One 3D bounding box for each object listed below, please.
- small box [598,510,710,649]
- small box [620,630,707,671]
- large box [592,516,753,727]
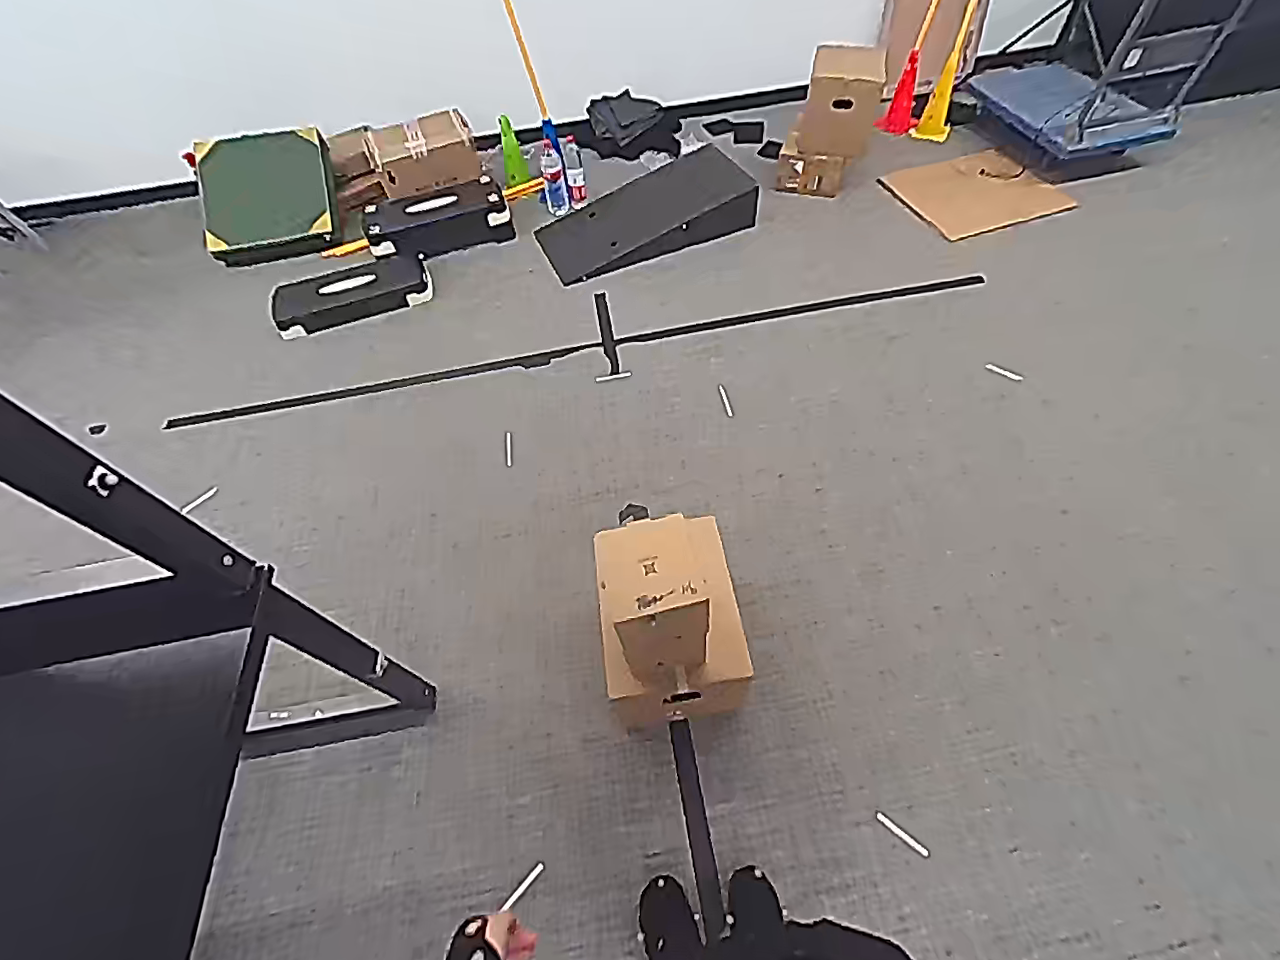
[{"bbox_3d":[0.026,0.185,0.988,0.168,0.176,0.179,-14,54,-2],"label":"small box"},{"bbox_3d":[0.040,0.276,1.123,0.168,0.176,0.179,-11,56,0],"label":"small box"},{"bbox_3d":[0.071,0.357,1.362,0.320,0.320,0.408,-8,54,-2],"label":"large box"}]
